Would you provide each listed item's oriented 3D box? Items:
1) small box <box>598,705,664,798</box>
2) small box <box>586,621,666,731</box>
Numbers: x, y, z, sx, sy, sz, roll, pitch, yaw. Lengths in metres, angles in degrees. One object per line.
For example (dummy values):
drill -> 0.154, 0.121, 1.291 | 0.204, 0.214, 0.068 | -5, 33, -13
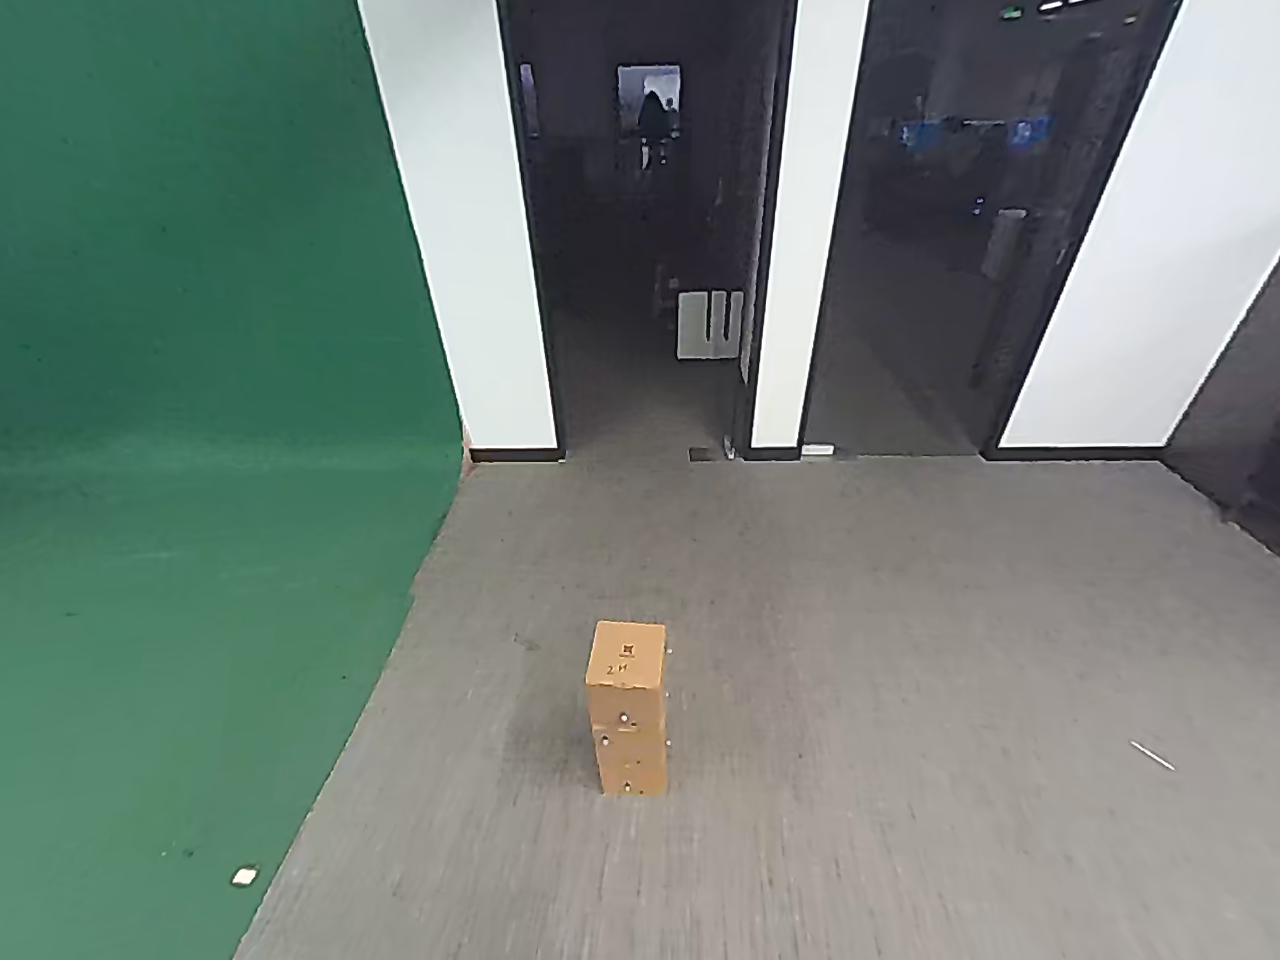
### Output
small box -> -0.021, 0.732, 1.473 | 0.168, 0.176, 0.179 | 1, 36, 3
small box -> -0.028, 0.463, 1.284 | 0.168, 0.176, 0.179 | 3, 36, 6
